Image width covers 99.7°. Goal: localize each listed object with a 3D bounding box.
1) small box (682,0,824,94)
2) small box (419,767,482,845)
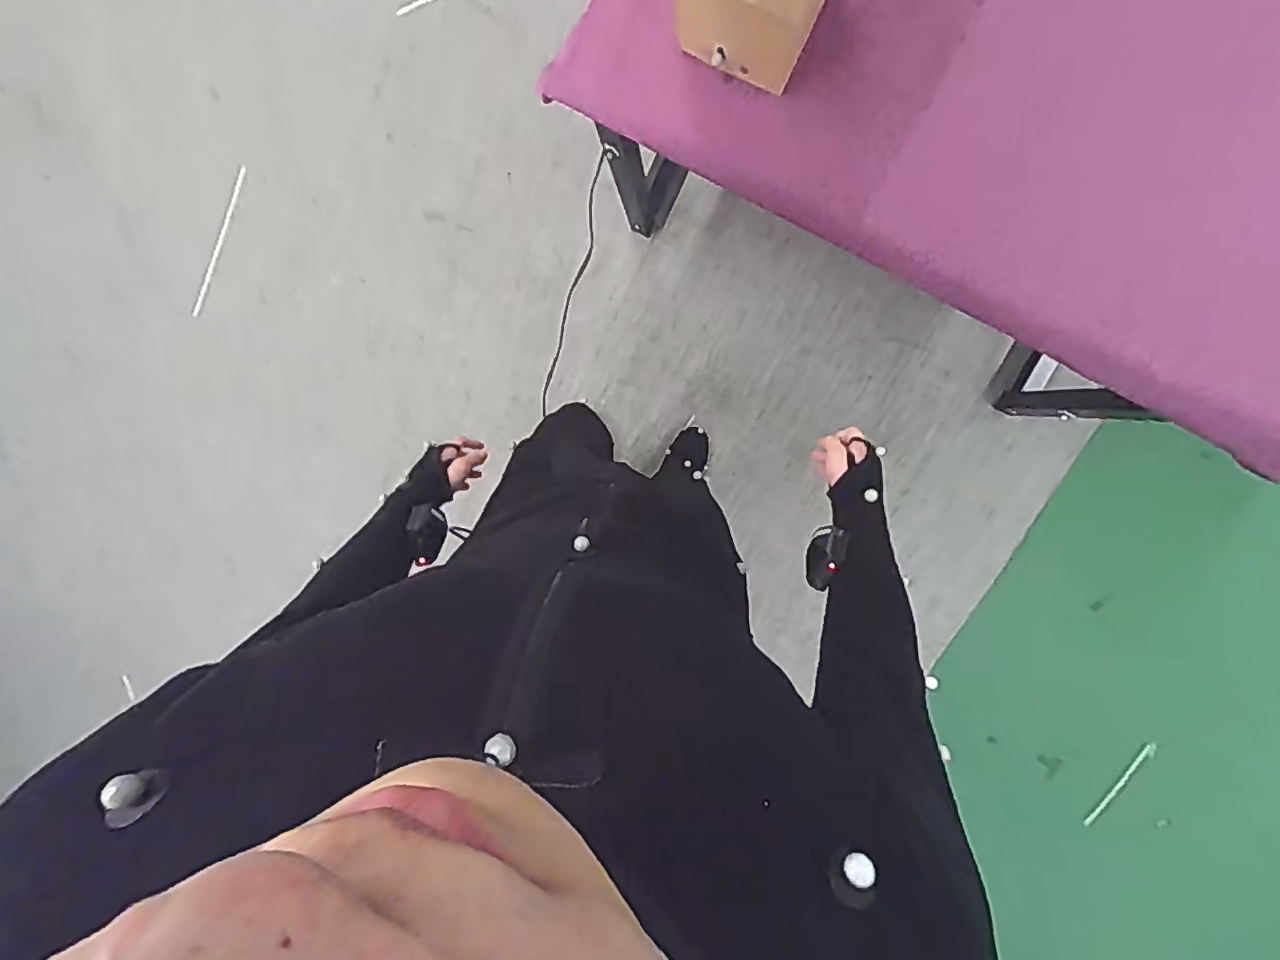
[{"bbox_3d":[0.157,-0.657,0.696,0.168,0.176,0.179,26,100,2],"label":"small box"},{"bbox_3d":[-0.628,1.058,1.702,0.168,0.176,0.179,34,100,0],"label":"small box"}]
